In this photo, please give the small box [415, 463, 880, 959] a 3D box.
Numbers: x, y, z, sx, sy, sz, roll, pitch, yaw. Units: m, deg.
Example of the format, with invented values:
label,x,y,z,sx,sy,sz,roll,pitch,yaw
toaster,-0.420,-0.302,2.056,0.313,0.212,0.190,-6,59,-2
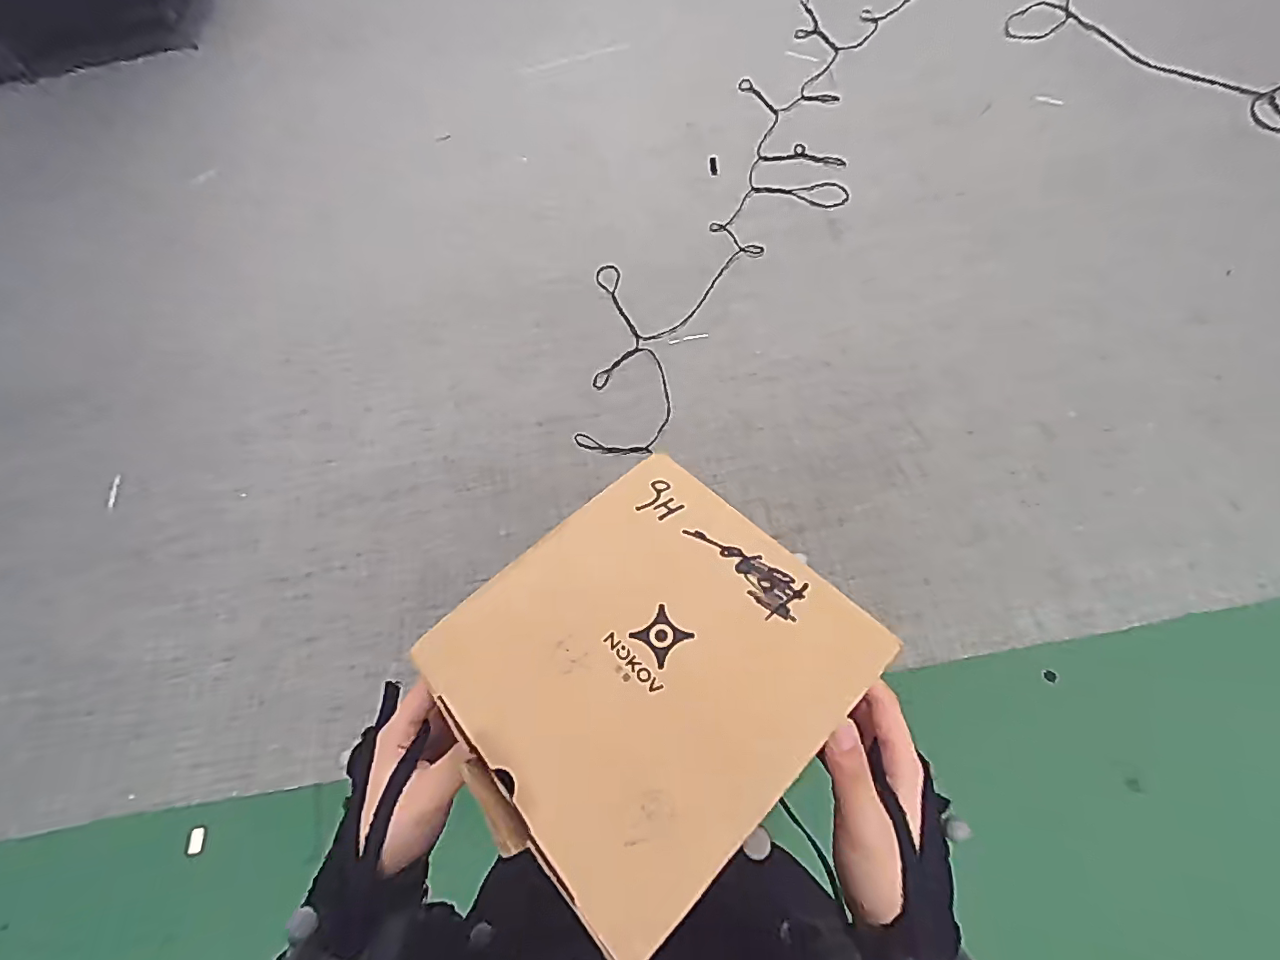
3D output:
label,x,y,z,sx,sy,sz,roll,pitch,yaw
small box,0.007,0.131,0.330,0.179,0.176,0.168,-39,60,-20
